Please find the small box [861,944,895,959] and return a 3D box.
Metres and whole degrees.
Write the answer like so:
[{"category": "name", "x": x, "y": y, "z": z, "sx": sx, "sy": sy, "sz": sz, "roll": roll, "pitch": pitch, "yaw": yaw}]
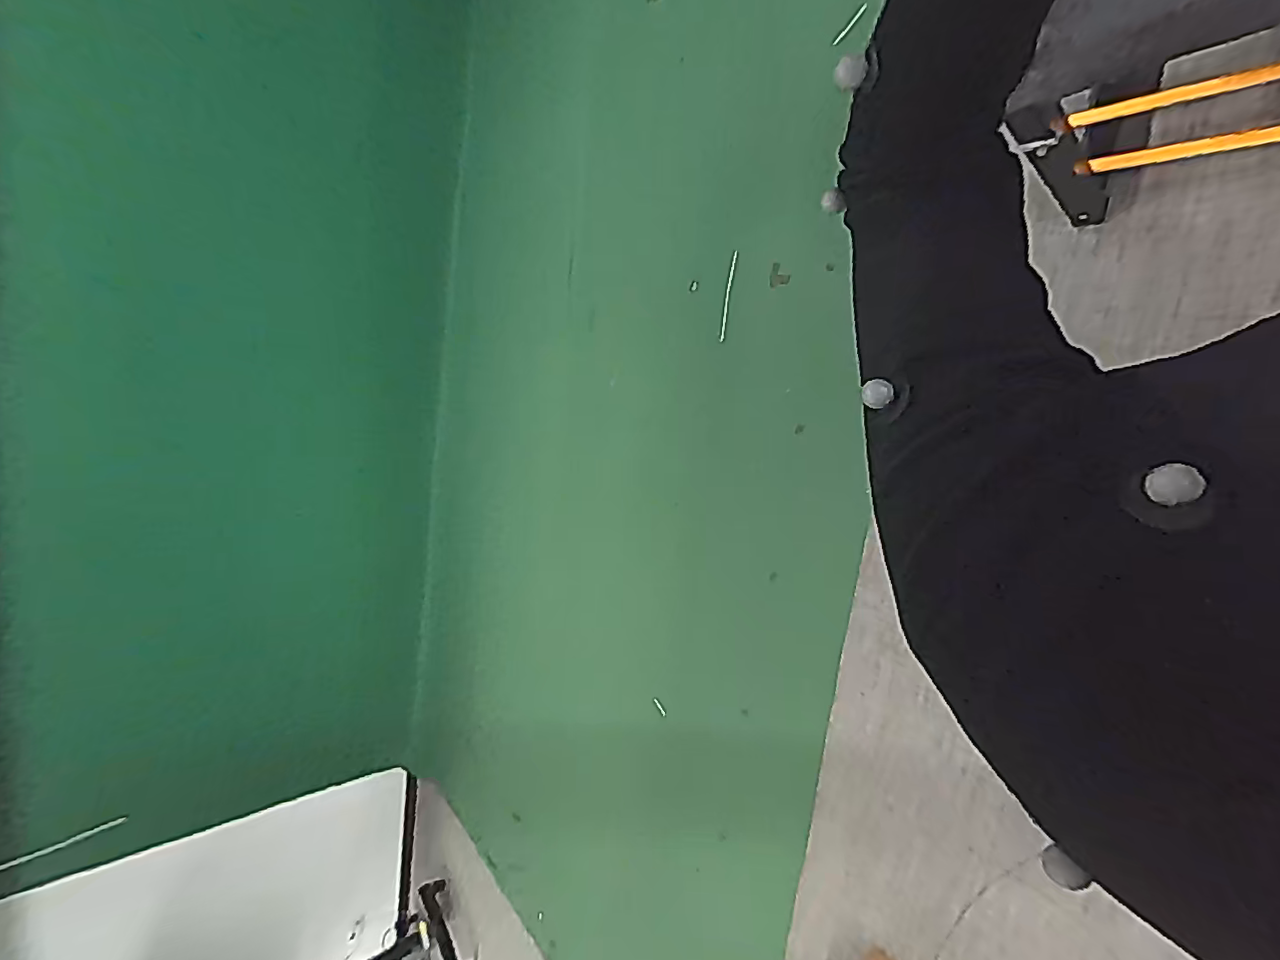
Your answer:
[{"category": "small box", "x": 0.650, "y": 1.408, "z": 1.438, "sx": 0.168, "sy": 0.176, "sz": 0.179, "roll": 14, "pitch": 101, "yaw": 47}]
